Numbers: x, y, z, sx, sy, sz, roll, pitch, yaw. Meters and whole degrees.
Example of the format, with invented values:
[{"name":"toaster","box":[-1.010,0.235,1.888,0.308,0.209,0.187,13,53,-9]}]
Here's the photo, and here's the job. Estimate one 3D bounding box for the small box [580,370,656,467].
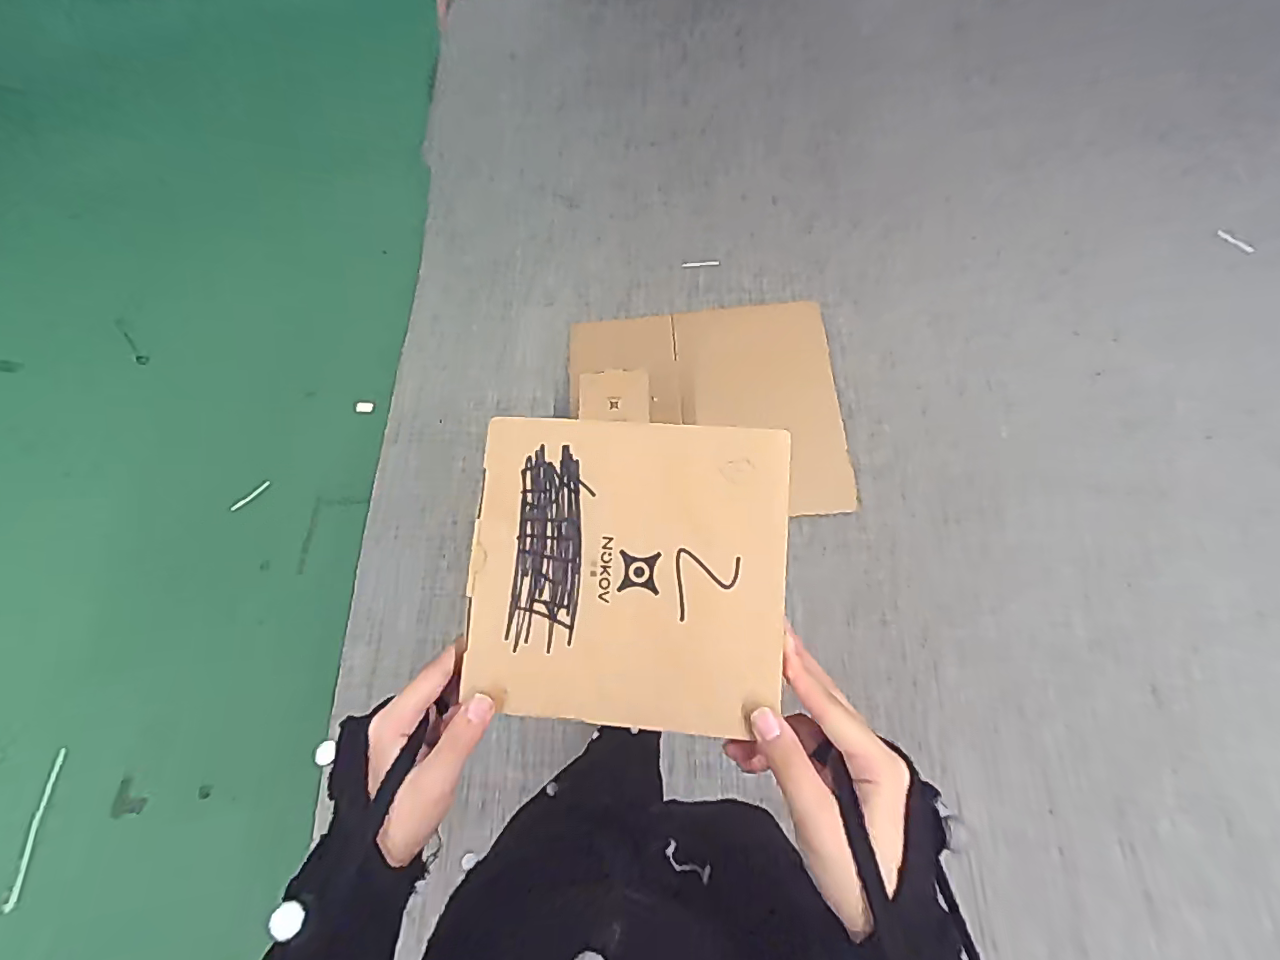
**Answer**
[{"name":"small box","box":[-0.050,-0.145,1.317,0.168,0.176,0.179,-4,70,5]}]
